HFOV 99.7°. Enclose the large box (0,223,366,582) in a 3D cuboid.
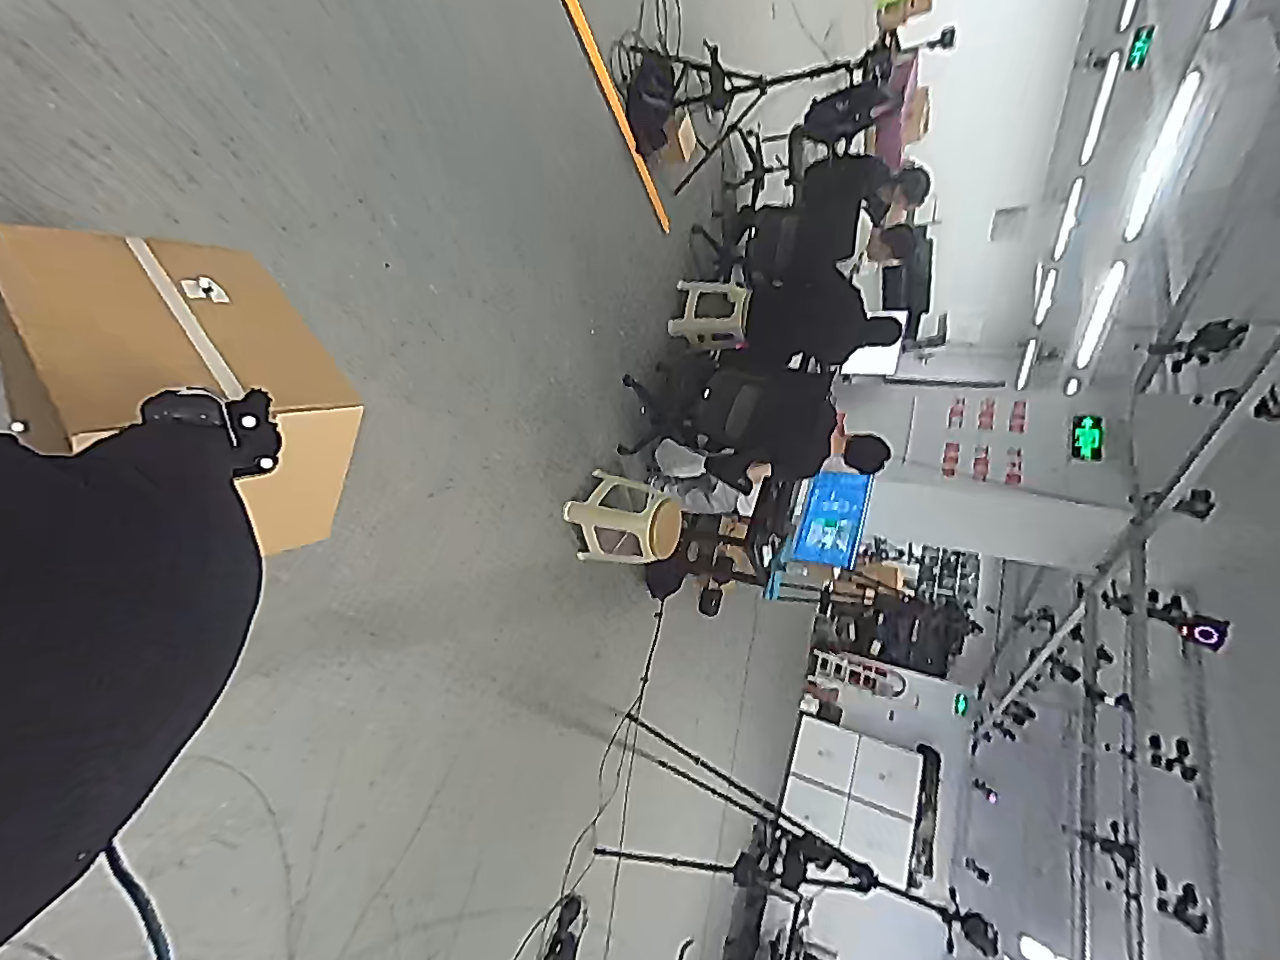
[{"bbox_3d":[-0.696,-0.125,0.834,0.320,0.408,0.320,-19,151,-51],"label":"large box"}]
